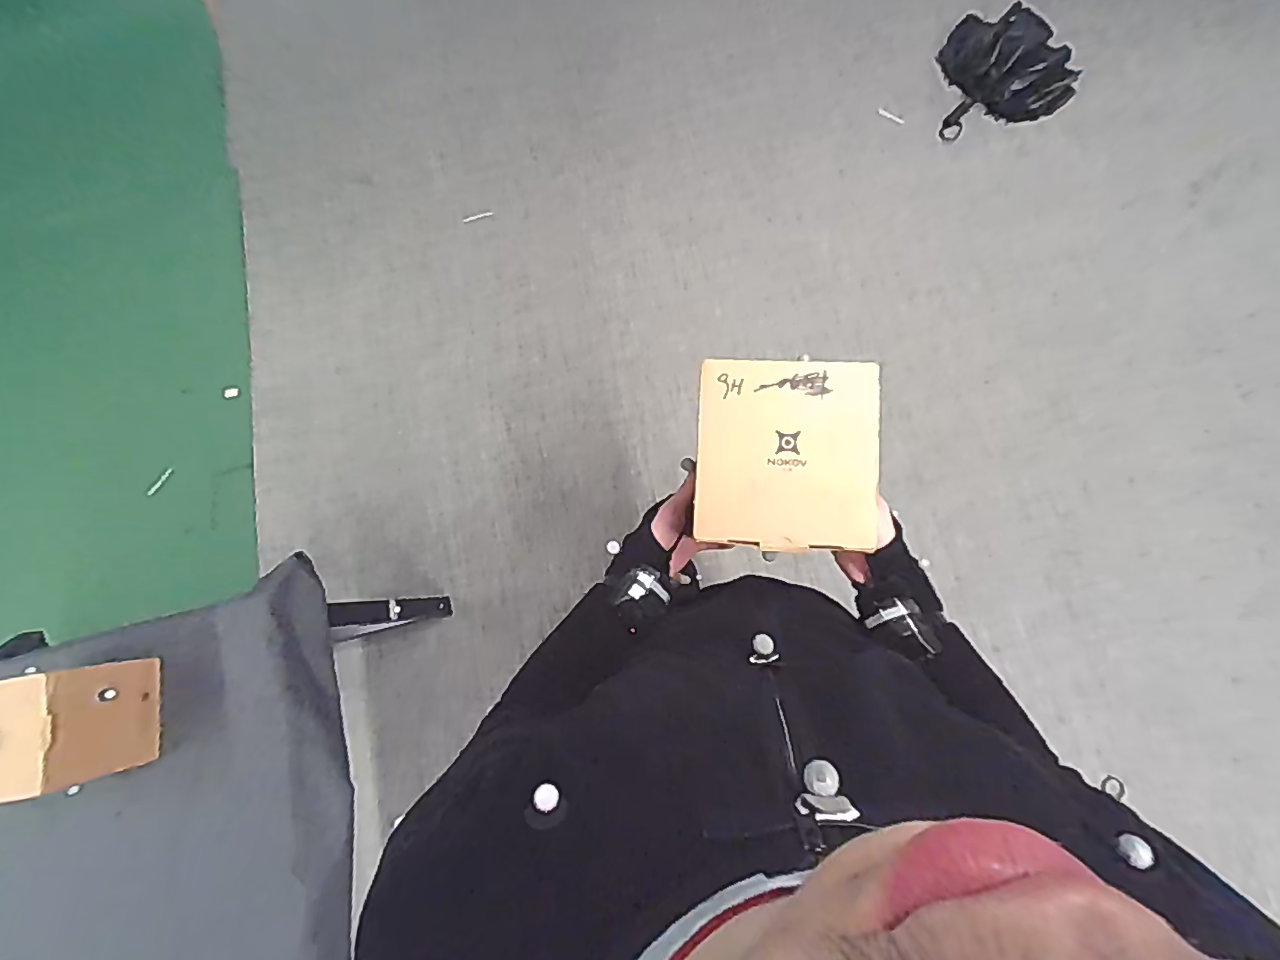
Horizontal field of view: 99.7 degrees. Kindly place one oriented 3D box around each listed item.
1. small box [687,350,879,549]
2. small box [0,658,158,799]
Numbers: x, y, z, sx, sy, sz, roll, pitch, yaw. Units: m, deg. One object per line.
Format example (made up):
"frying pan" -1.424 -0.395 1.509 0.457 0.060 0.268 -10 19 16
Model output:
"small box" 0.137 -0.024 0.569 0.168 0.176 0.179 3 85 5
"small box" -0.898 0.378 0.834 0.179 0.176 0.168 -12 76 5
